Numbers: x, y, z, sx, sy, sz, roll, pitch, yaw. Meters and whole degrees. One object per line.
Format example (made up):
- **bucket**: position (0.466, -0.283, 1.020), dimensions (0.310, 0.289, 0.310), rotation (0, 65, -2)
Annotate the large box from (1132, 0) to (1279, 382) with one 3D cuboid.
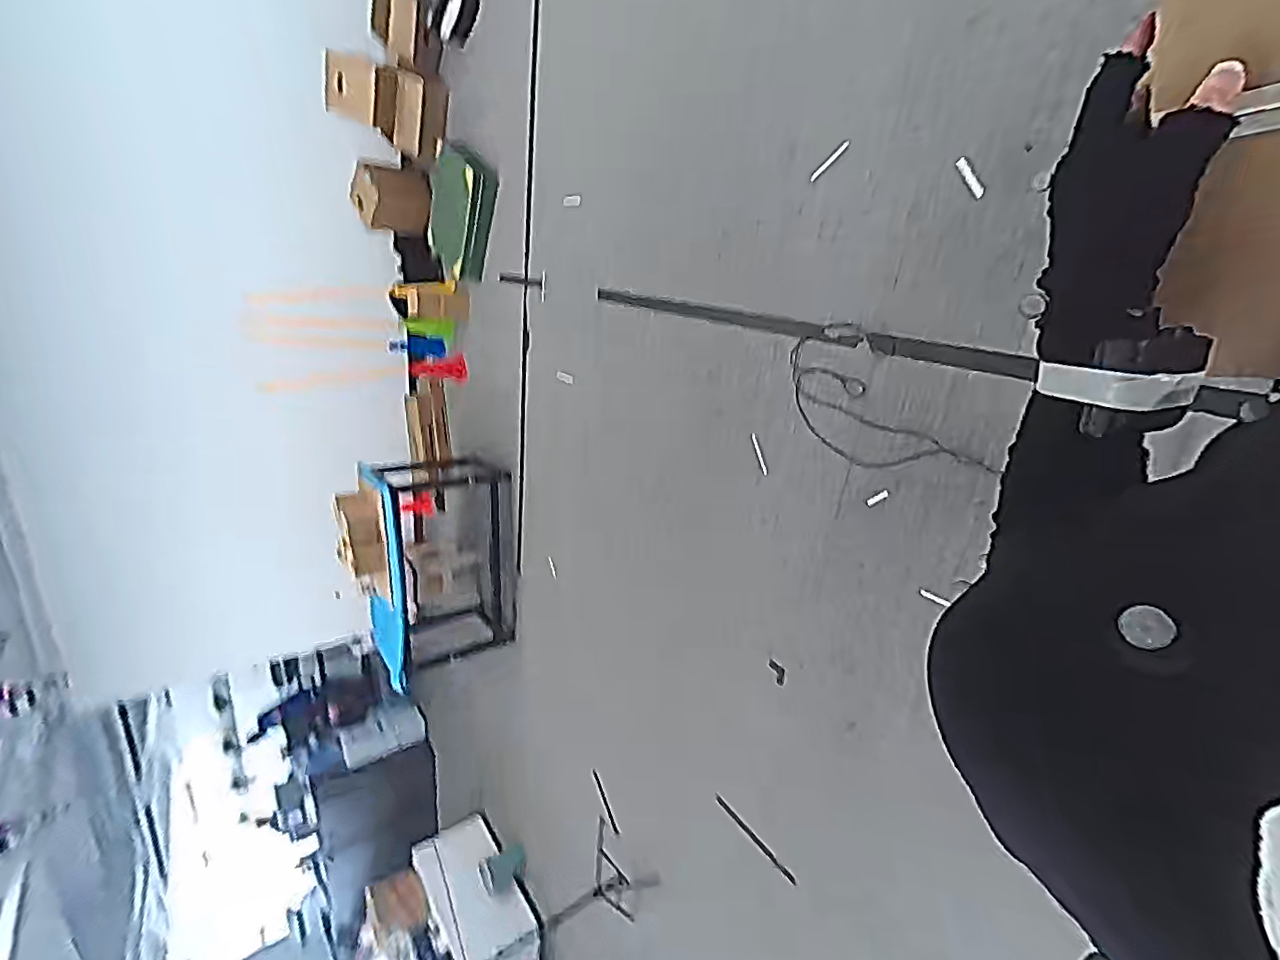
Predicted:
- **large box**: position (0.505, -0.251, 0.219), dimensions (0.408, 0.320, 0.320), rotation (15, 143, 51)
